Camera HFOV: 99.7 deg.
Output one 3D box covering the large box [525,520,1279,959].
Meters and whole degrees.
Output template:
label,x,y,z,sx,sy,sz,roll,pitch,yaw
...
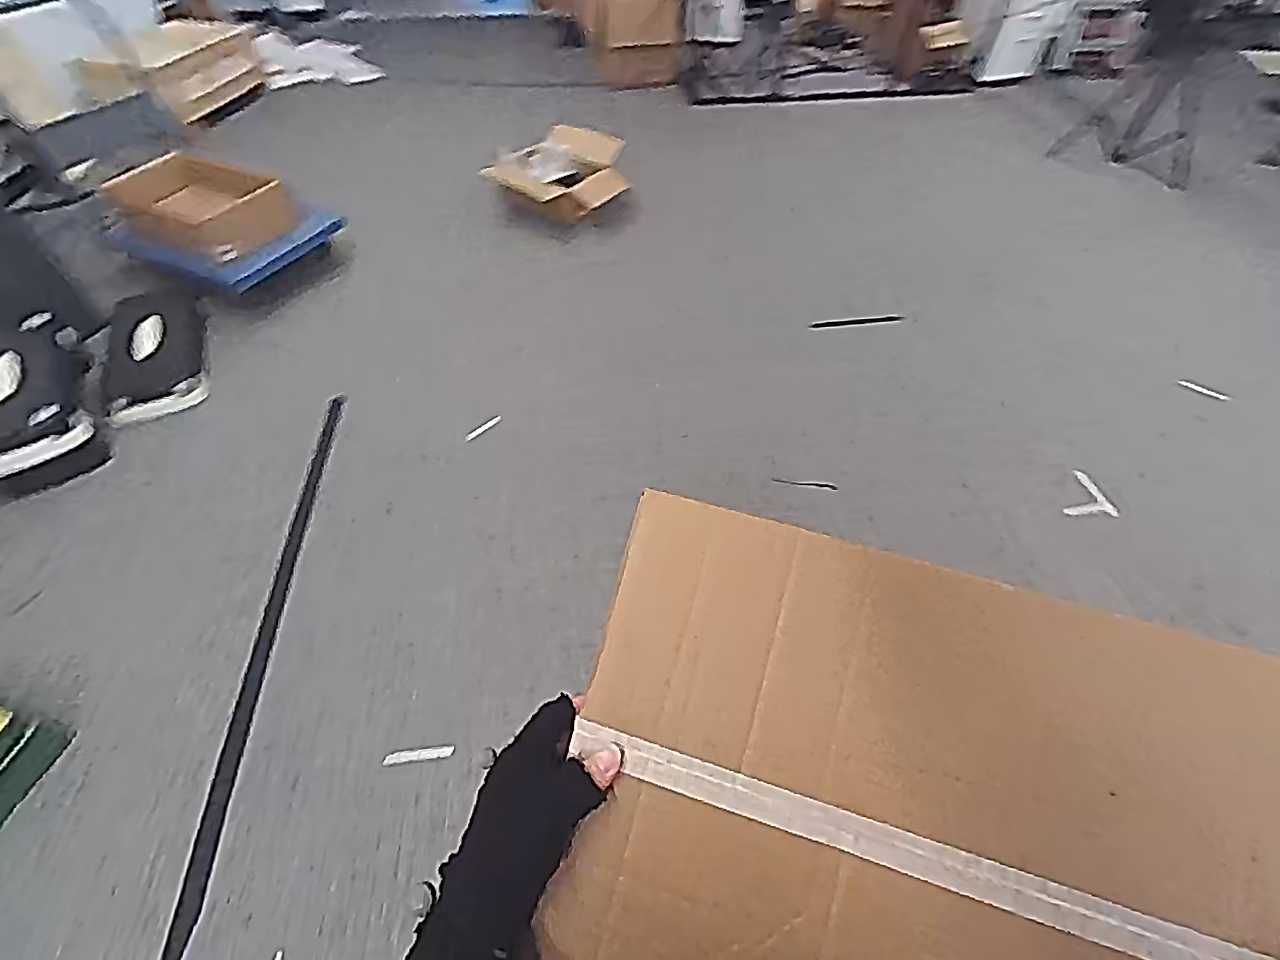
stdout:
label,x,y,z,sx,sy,sz,roll,pitch,yaw
large box,0.169,0.234,0.462,0.408,0.320,0.320,13,83,9
